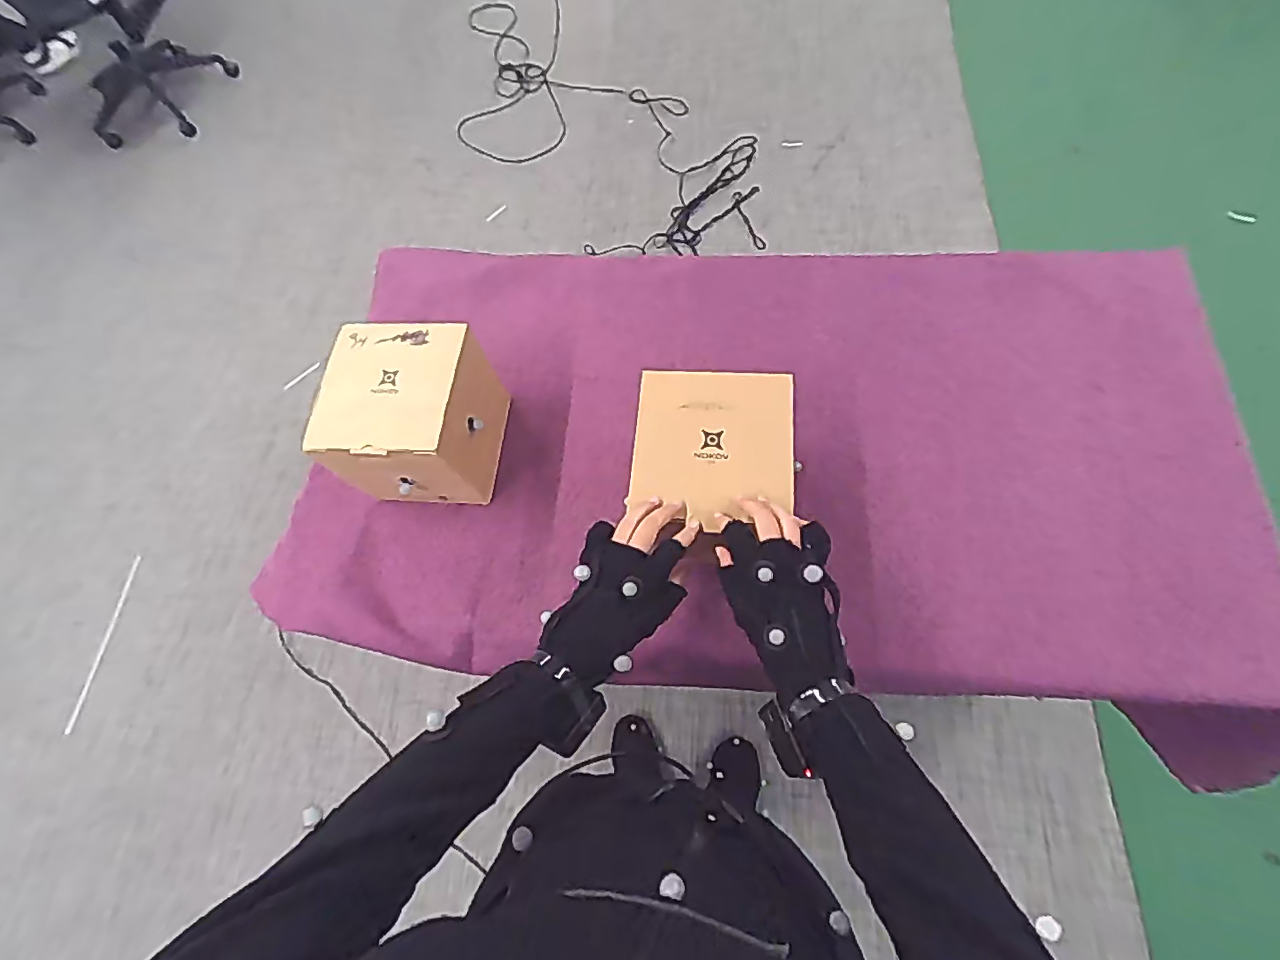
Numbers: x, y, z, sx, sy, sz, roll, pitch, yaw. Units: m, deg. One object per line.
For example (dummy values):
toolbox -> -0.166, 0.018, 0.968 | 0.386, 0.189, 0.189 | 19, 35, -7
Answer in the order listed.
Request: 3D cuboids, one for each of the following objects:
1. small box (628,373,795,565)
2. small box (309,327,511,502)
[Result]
small box -> 0.086, -0.005, 0.635 | 0.168, 0.176, 0.179 | 3, 68, 8
small box -> -0.282, -0.078, 0.707 | 0.168, 0.176, 0.179 | 2, 69, 7
